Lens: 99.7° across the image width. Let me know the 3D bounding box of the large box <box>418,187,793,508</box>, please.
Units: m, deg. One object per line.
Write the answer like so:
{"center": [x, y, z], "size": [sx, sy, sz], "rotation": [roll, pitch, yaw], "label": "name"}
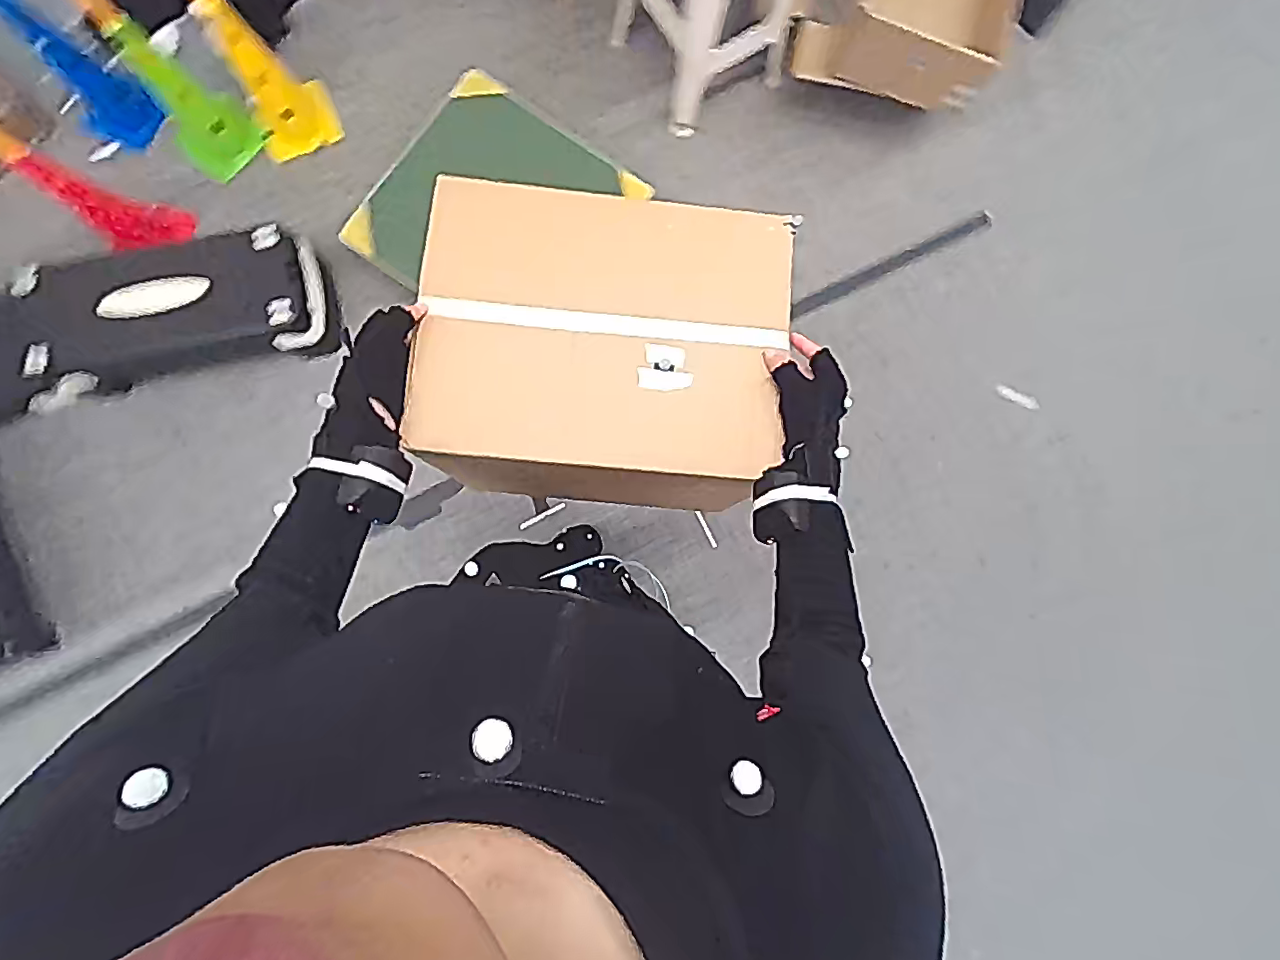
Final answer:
{"center": [-0.040, -0.146, 0.754], "size": [0.408, 0.320, 0.320], "rotation": [7, 81, -3], "label": "large box"}
